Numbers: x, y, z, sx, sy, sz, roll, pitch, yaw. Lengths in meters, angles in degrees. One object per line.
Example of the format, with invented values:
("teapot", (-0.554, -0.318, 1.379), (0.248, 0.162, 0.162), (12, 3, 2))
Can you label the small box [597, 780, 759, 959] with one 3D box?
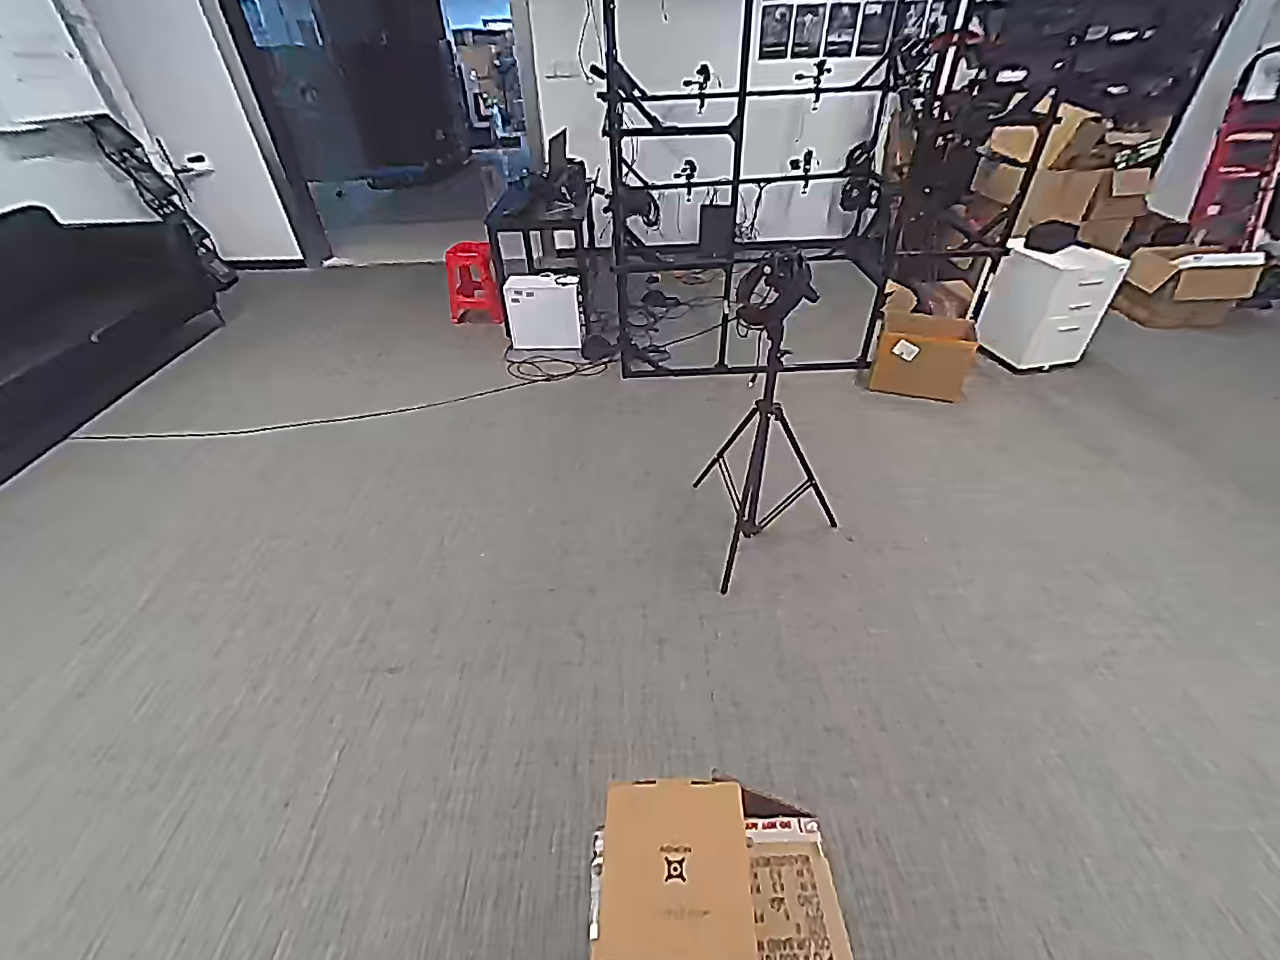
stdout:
("small box", (0.044, 0.487, 0.652), (0.168, 0.176, 0.179), (-2, 42, 3))
